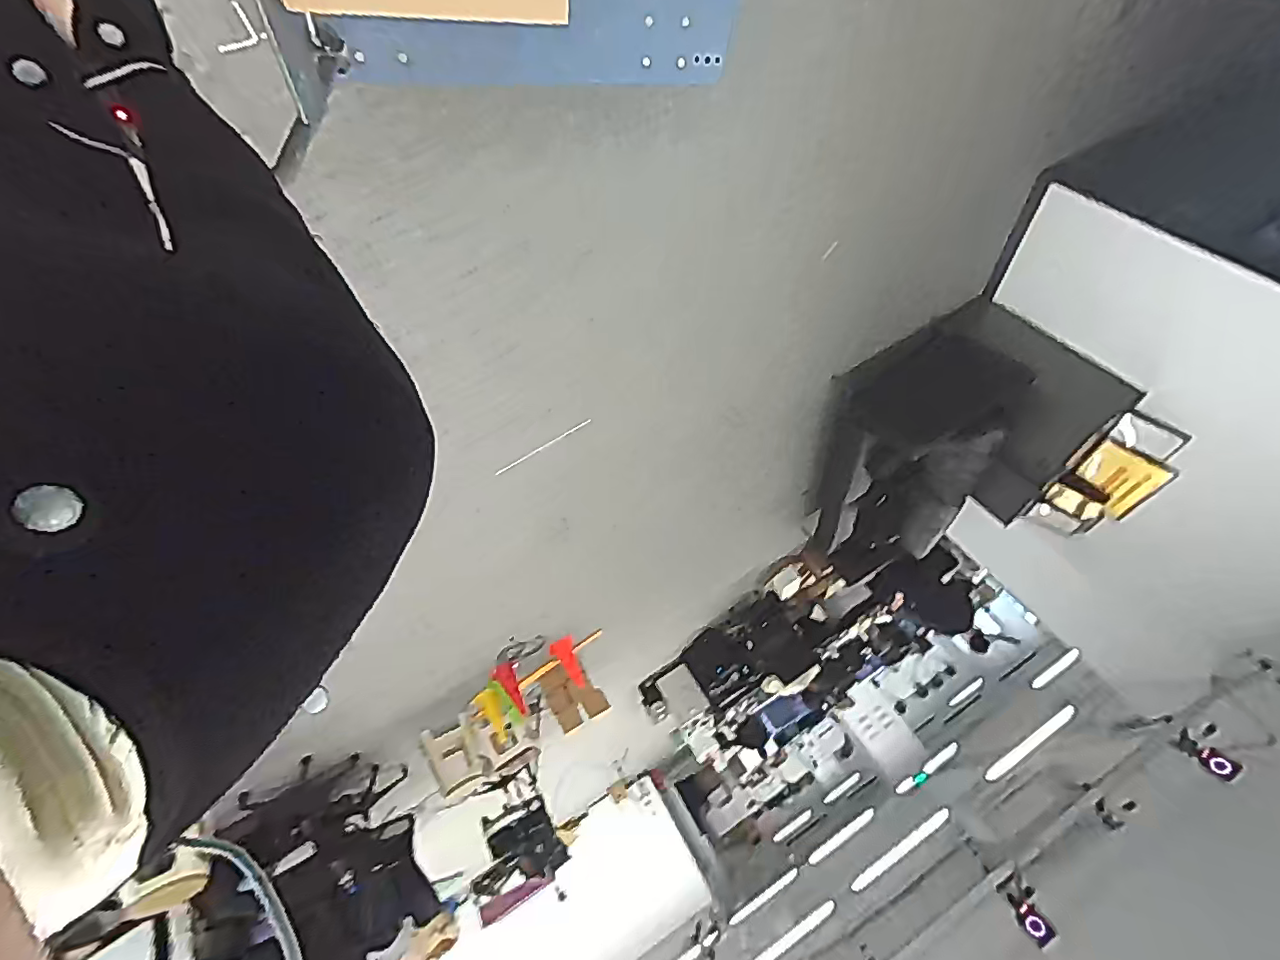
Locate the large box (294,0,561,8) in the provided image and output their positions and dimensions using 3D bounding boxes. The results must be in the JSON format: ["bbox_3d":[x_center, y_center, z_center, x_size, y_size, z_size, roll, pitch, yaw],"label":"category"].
[{"bbox_3d":[-0.342,-0.915,0.769,0.408,0.320,0.320,-10,144,-14],"label":"large box"}]
